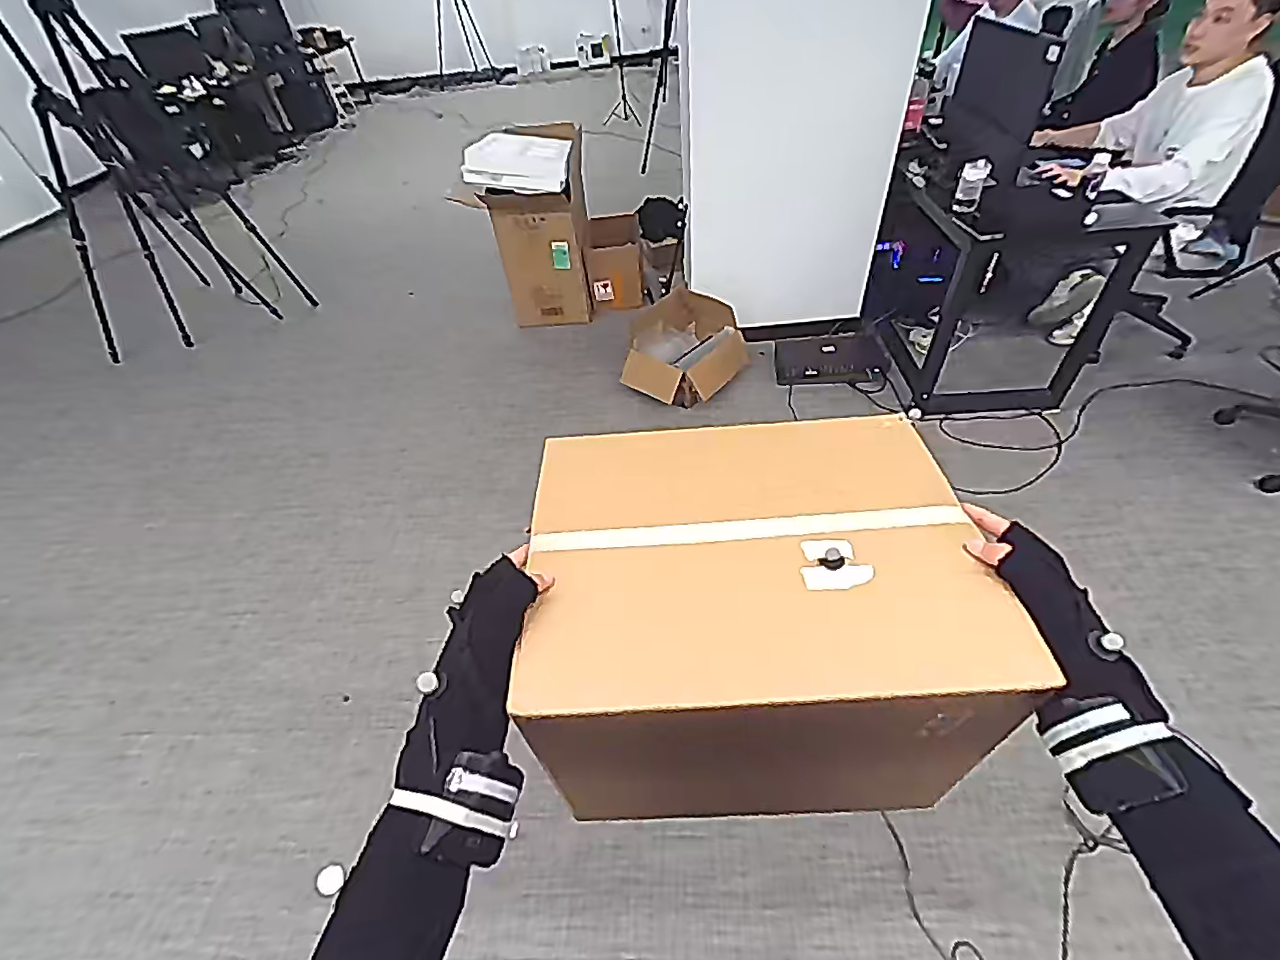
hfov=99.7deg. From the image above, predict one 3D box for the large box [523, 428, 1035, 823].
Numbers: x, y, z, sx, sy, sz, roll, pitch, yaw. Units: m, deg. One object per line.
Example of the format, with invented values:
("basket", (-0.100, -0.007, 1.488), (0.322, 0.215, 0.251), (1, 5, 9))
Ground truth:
("large box", (0.109, 0.168, 0.621), (0.408, 0.320, 0.320), (-4, 45, 2))
